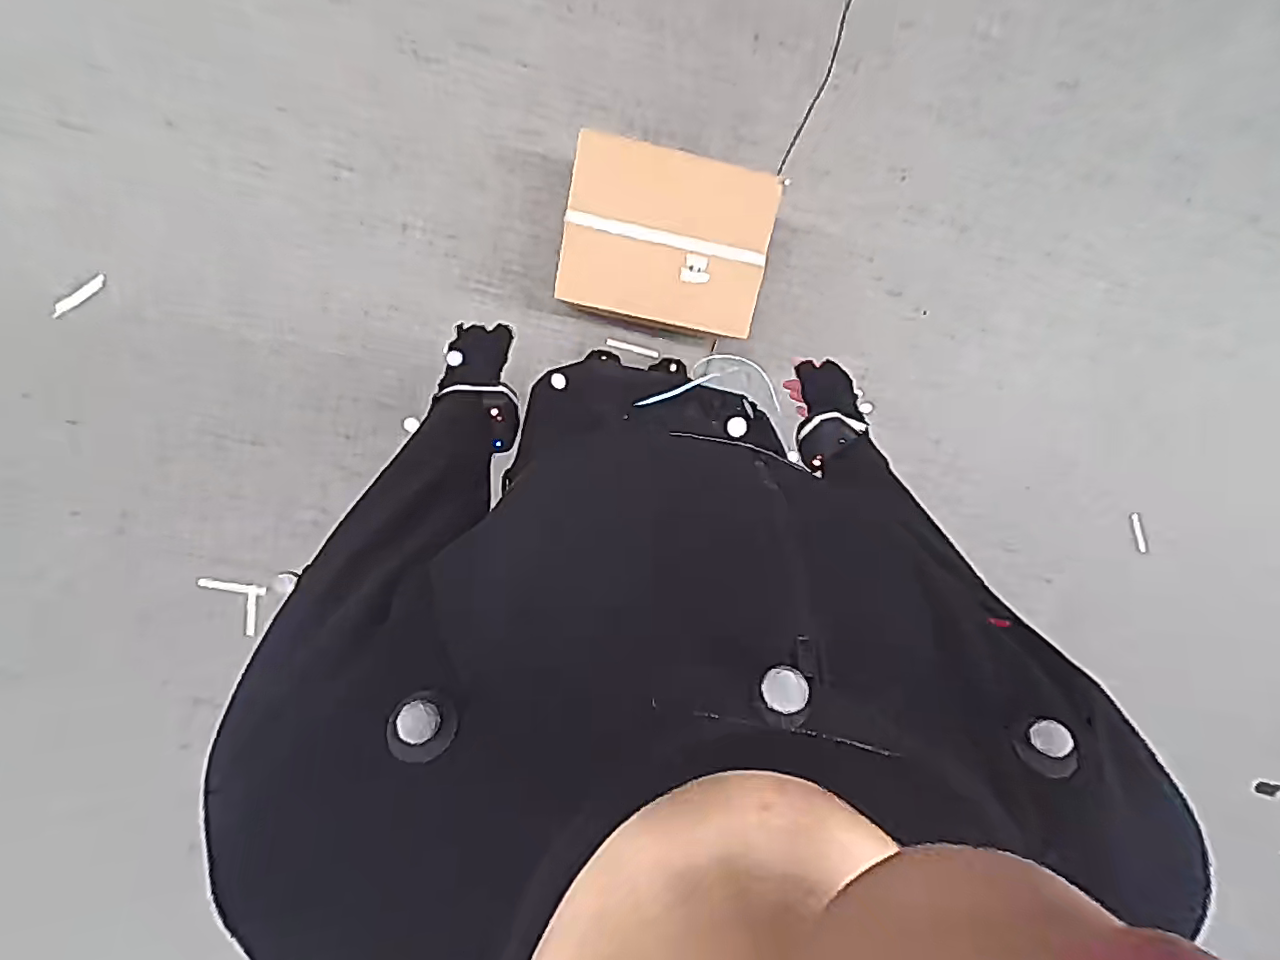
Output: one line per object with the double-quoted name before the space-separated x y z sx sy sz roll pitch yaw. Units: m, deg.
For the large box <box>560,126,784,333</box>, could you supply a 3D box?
"large box" 0.049 -0.525 1.213 0.408 0.320 0.320 11 105 -7
